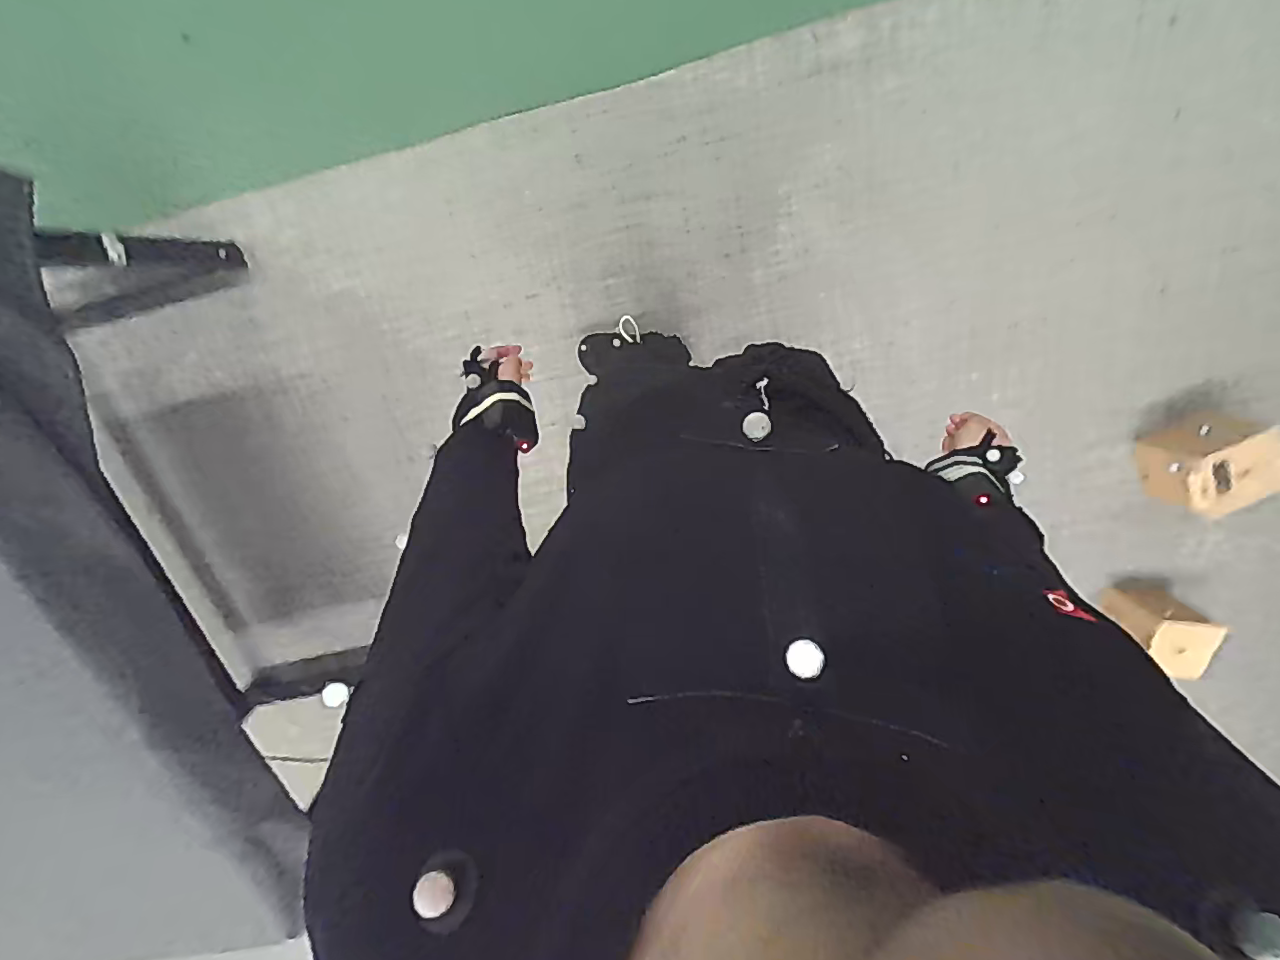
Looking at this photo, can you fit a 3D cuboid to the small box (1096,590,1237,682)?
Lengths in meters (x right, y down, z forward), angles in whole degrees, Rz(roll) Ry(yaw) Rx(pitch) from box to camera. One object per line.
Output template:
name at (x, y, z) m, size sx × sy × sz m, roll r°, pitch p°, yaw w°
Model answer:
small box at (1.387, 0.409, 1.438) m, size 0.179 × 0.176 × 0.168 m, roll 5°, pitch 111°, yaw 0°
